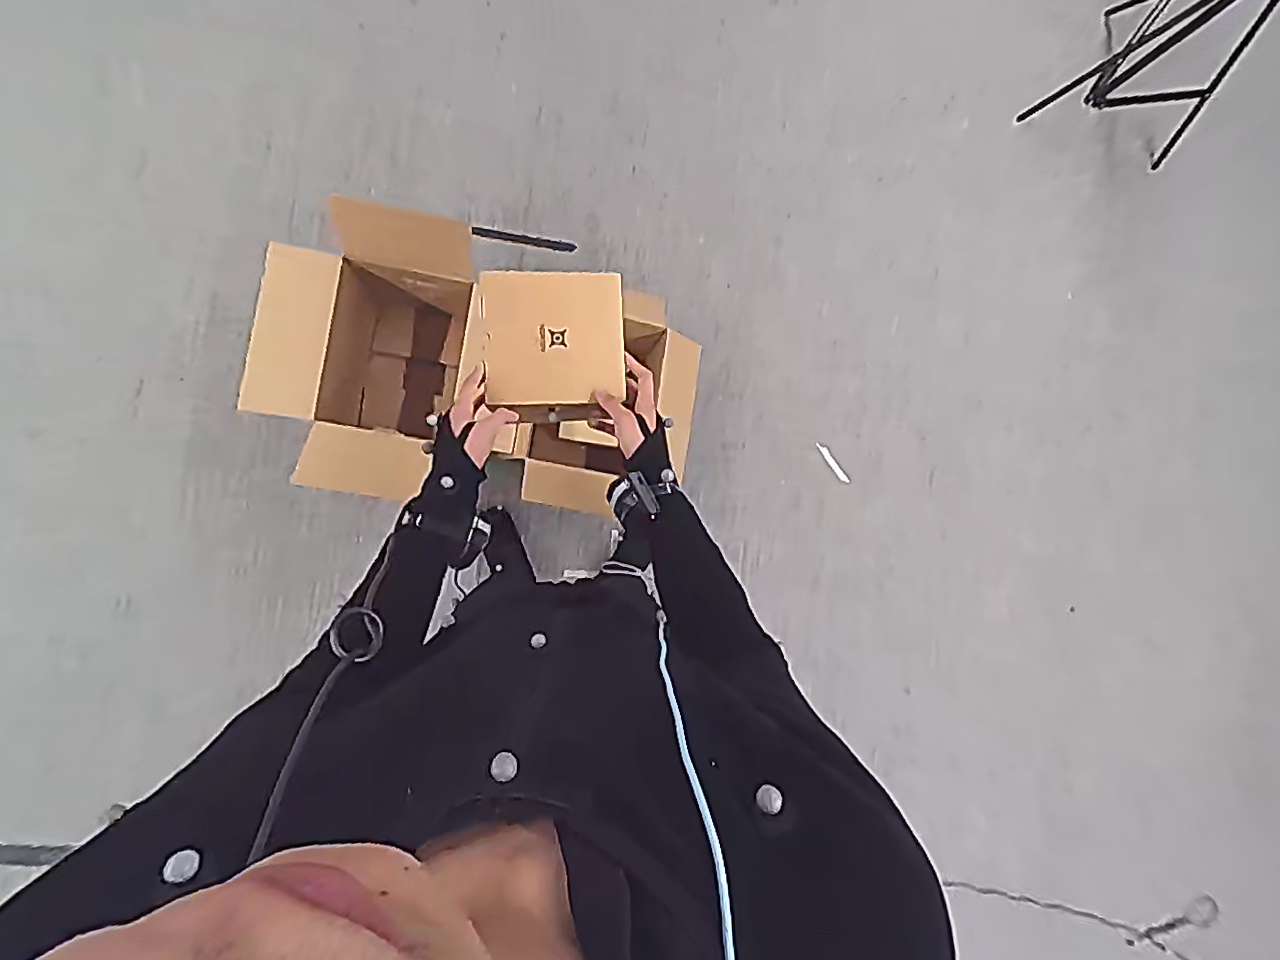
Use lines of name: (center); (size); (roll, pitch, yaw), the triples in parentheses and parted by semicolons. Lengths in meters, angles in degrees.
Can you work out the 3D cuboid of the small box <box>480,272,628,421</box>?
small box: (-0.115, -0.174, 0.744); (0.179, 0.176, 0.168); (-3, 90, -6)
